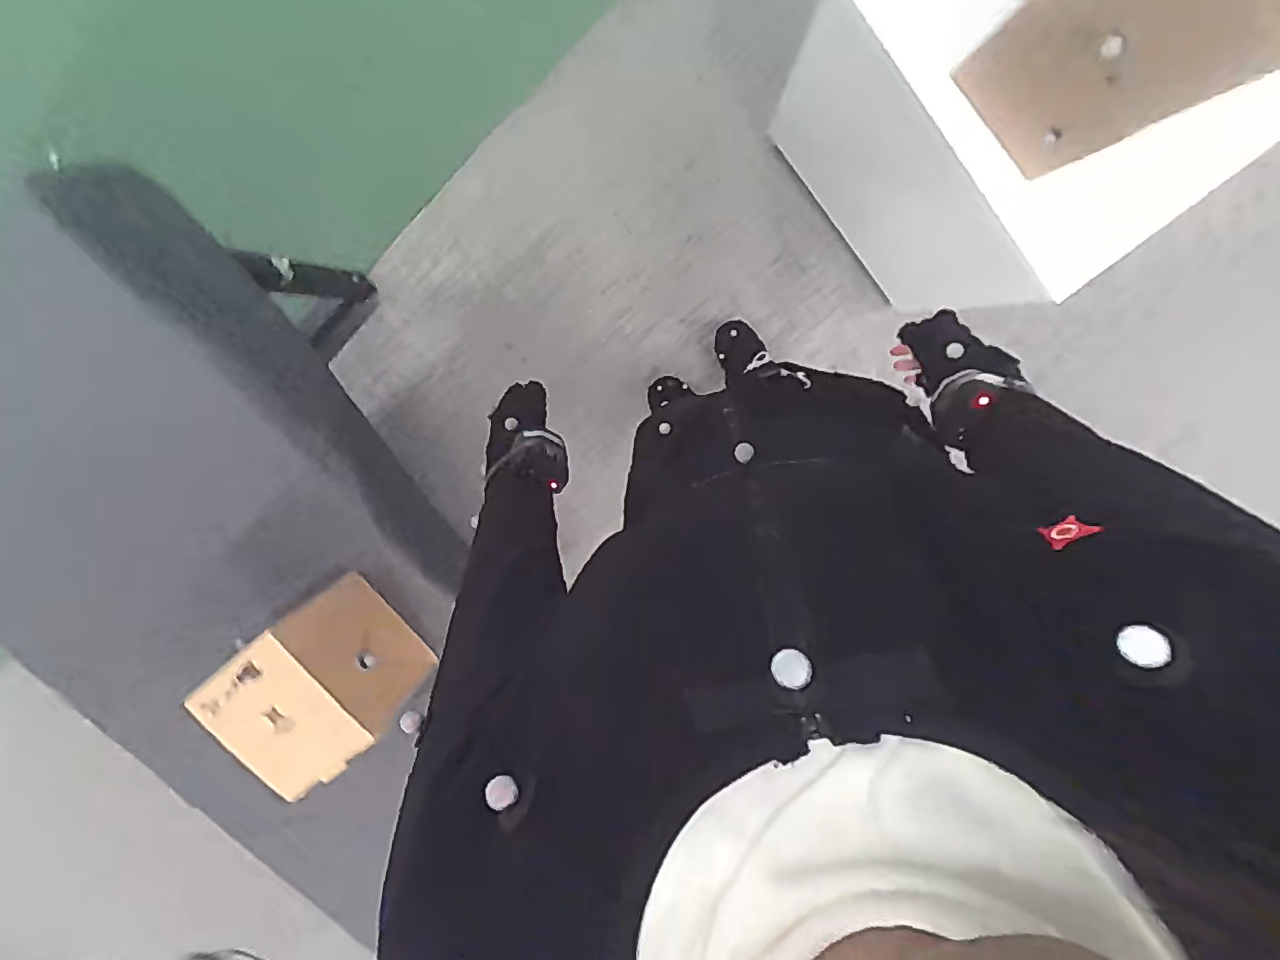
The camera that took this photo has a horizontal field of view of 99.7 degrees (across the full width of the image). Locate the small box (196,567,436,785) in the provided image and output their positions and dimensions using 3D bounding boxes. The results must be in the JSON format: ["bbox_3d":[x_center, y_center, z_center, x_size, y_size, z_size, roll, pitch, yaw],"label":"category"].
[{"bbox_3d":[-0.412,0.250,0.721,0.168,0.176,0.179,-37,99,14],"label":"small box"}]

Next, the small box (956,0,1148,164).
[{"bbox_3d":[0.489,-0.473,0.574,0.168,0.176,0.179,-43,97,13],"label":"small box"}]
